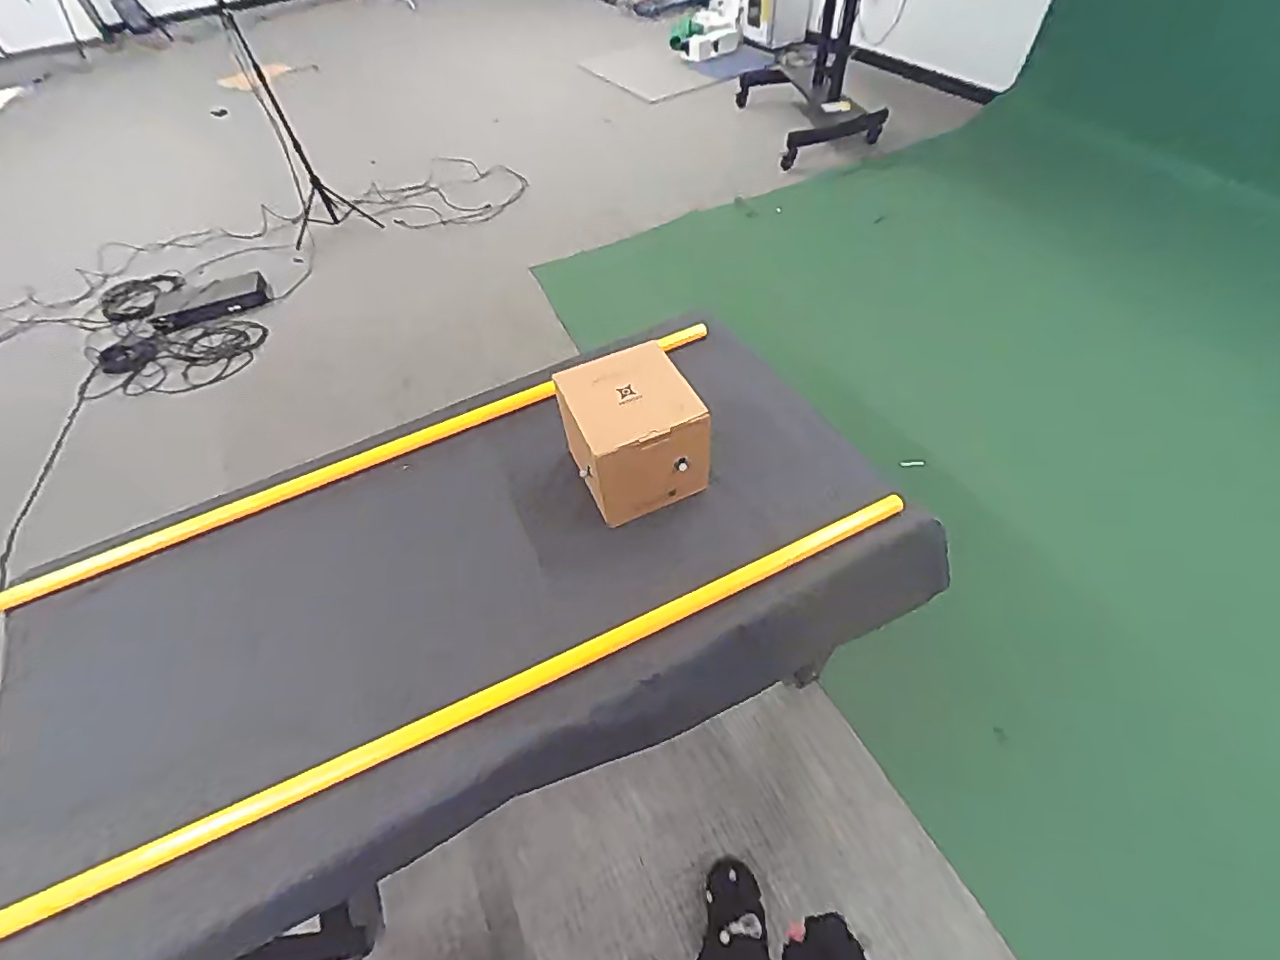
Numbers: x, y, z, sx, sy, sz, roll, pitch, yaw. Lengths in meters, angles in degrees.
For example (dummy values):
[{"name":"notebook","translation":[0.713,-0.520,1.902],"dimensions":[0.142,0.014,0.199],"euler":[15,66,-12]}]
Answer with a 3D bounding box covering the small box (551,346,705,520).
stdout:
[{"name":"small box","translation":[-0.014,-0.063,0.802],"dimensions":[0.168,0.176,0.179],"euler":[-22,52,-13]}]
